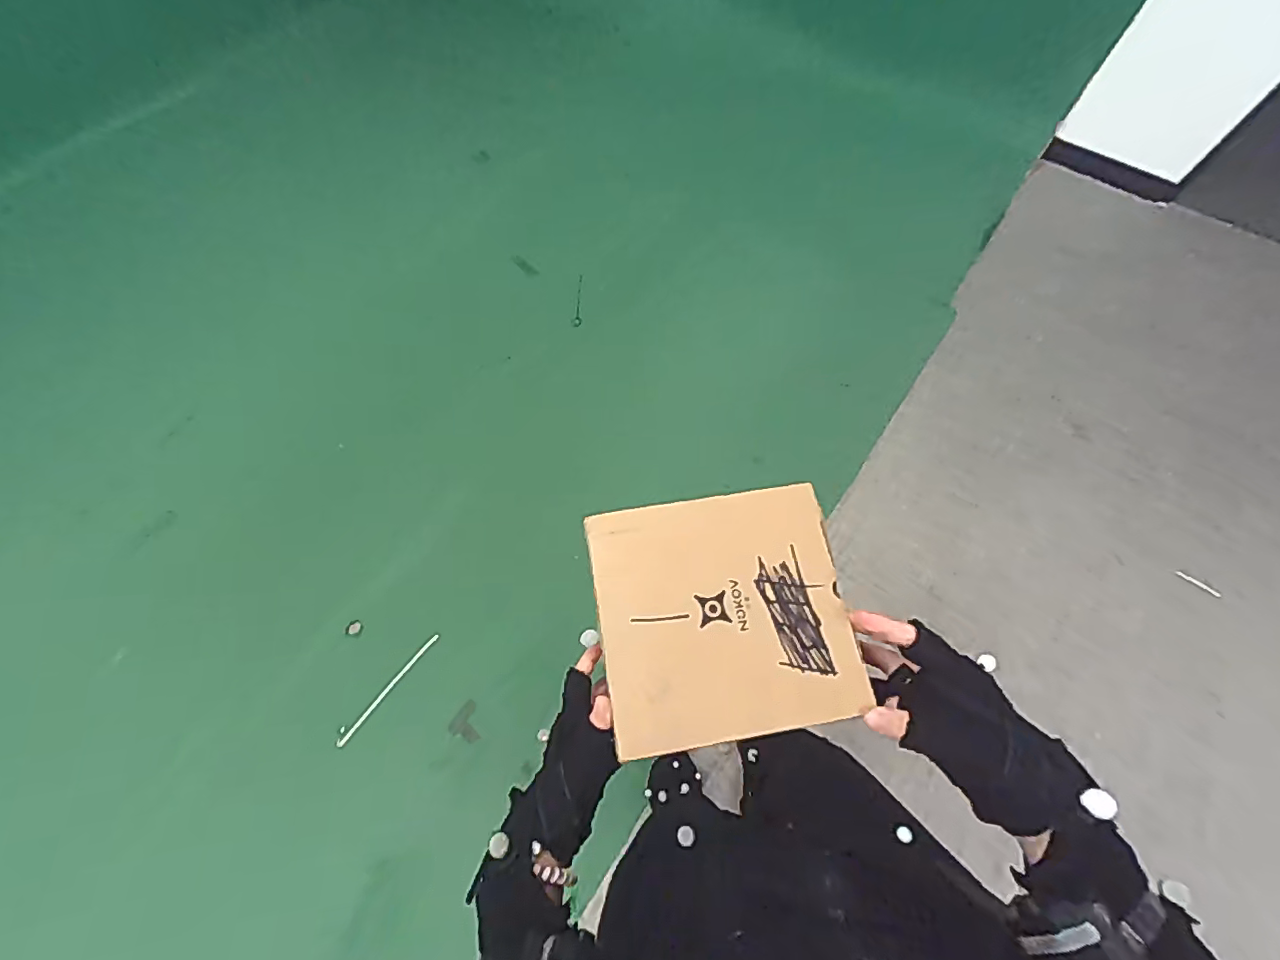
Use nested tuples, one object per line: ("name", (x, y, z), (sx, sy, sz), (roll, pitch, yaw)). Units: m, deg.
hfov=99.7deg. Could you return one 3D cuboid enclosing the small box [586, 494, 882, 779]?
("small box", (0.054, 0.124, 0.437), (0.179, 0.176, 0.168), (-8, 69, -6))
